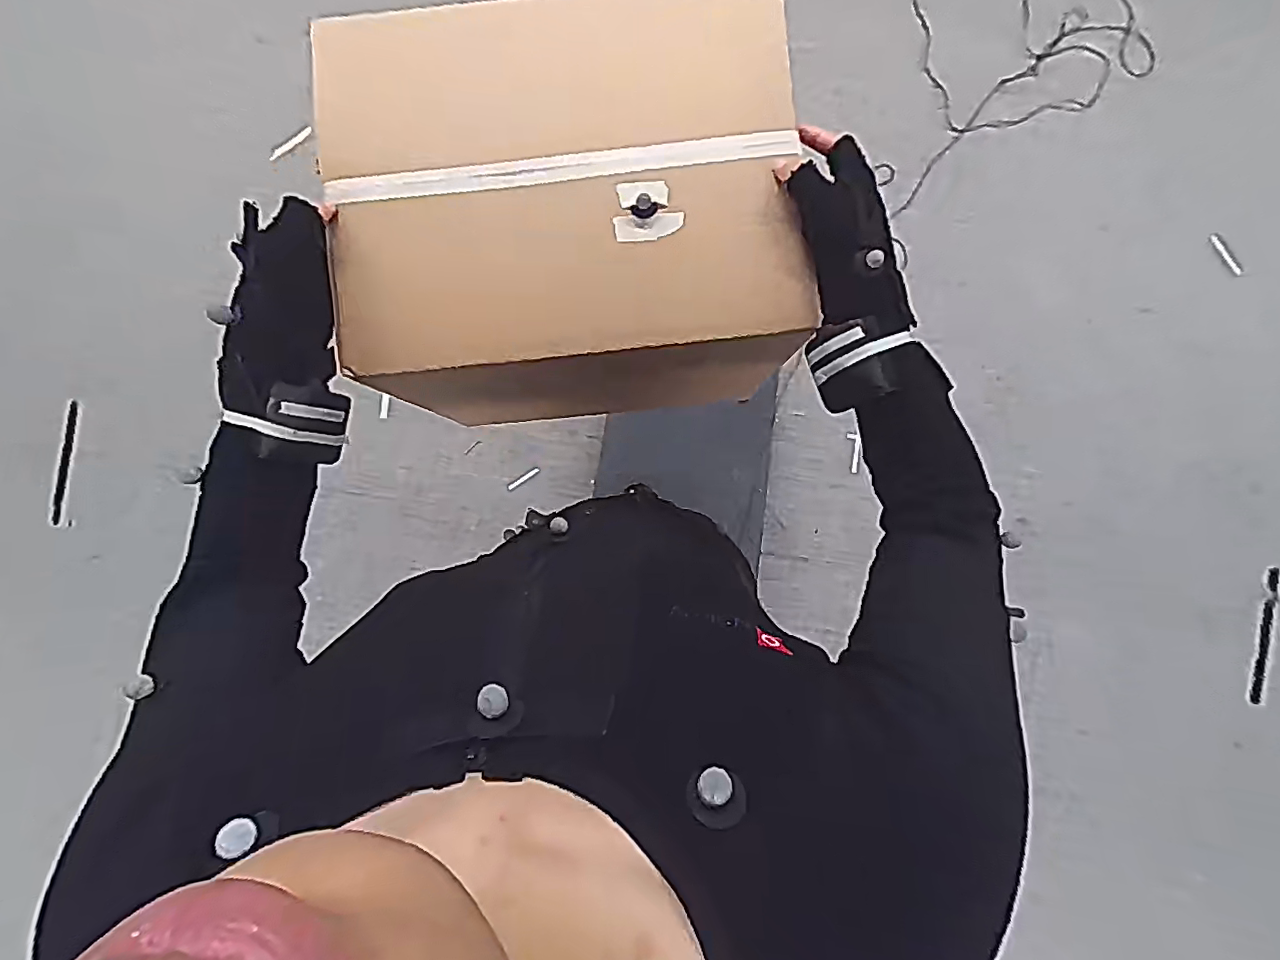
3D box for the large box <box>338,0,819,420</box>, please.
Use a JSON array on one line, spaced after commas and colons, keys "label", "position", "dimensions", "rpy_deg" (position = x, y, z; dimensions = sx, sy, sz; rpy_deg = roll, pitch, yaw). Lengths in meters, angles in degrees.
[{"label": "large box", "position": [-0.058, -0.263, 0.620], "dimensions": [0.408, 0.320, 0.320], "rpy_deg": [-5, 88, 0]}]
